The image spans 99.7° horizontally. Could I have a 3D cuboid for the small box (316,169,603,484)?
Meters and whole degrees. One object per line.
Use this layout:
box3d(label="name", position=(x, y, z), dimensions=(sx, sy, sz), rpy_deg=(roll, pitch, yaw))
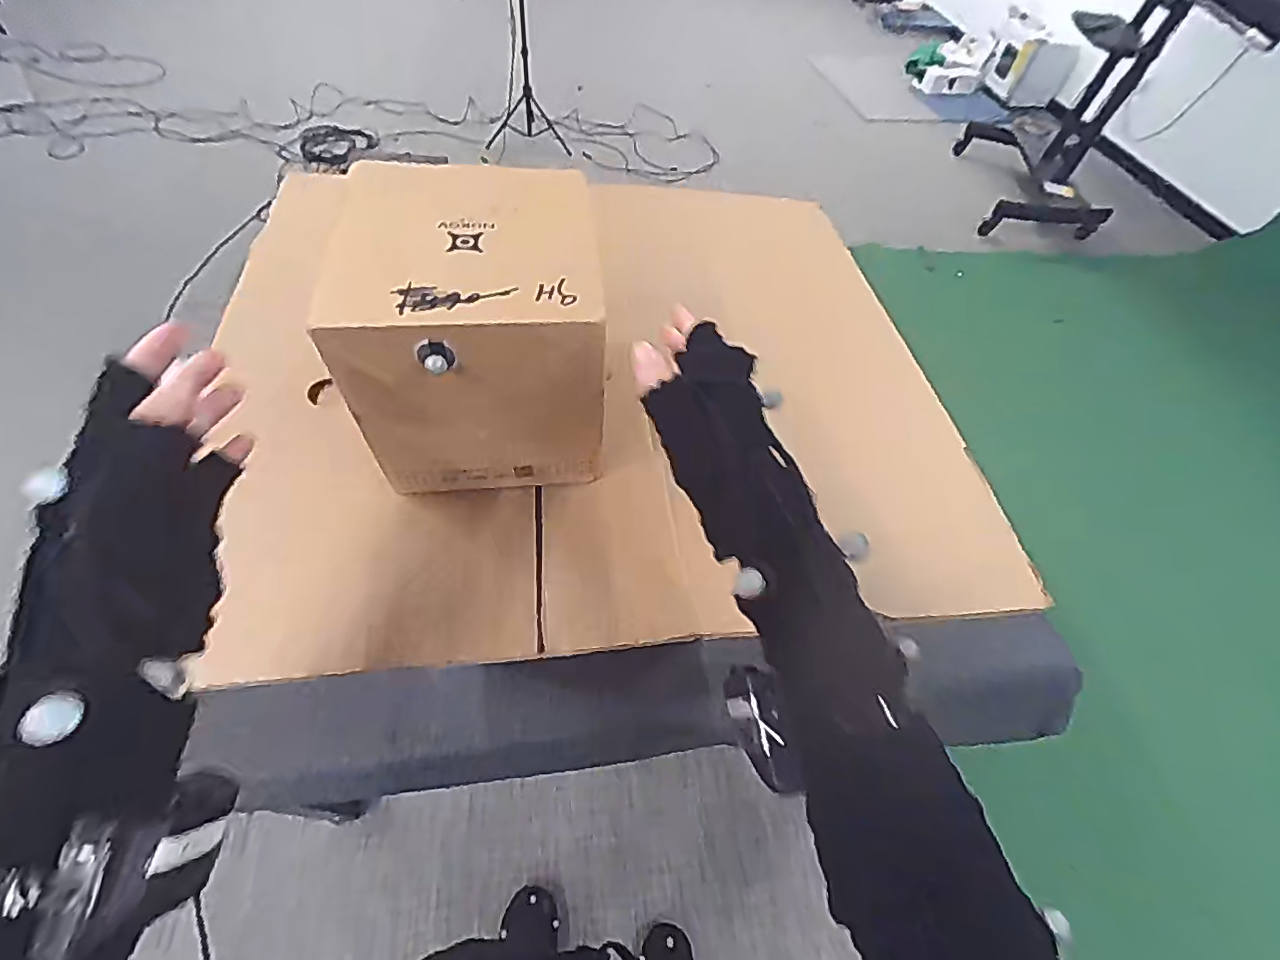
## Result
box3d(label="small box", position=(-0.120, -0.116, 0.428), dimensions=(0.168, 0.176, 0.179), rpy_deg=(-4, 55, -8))
